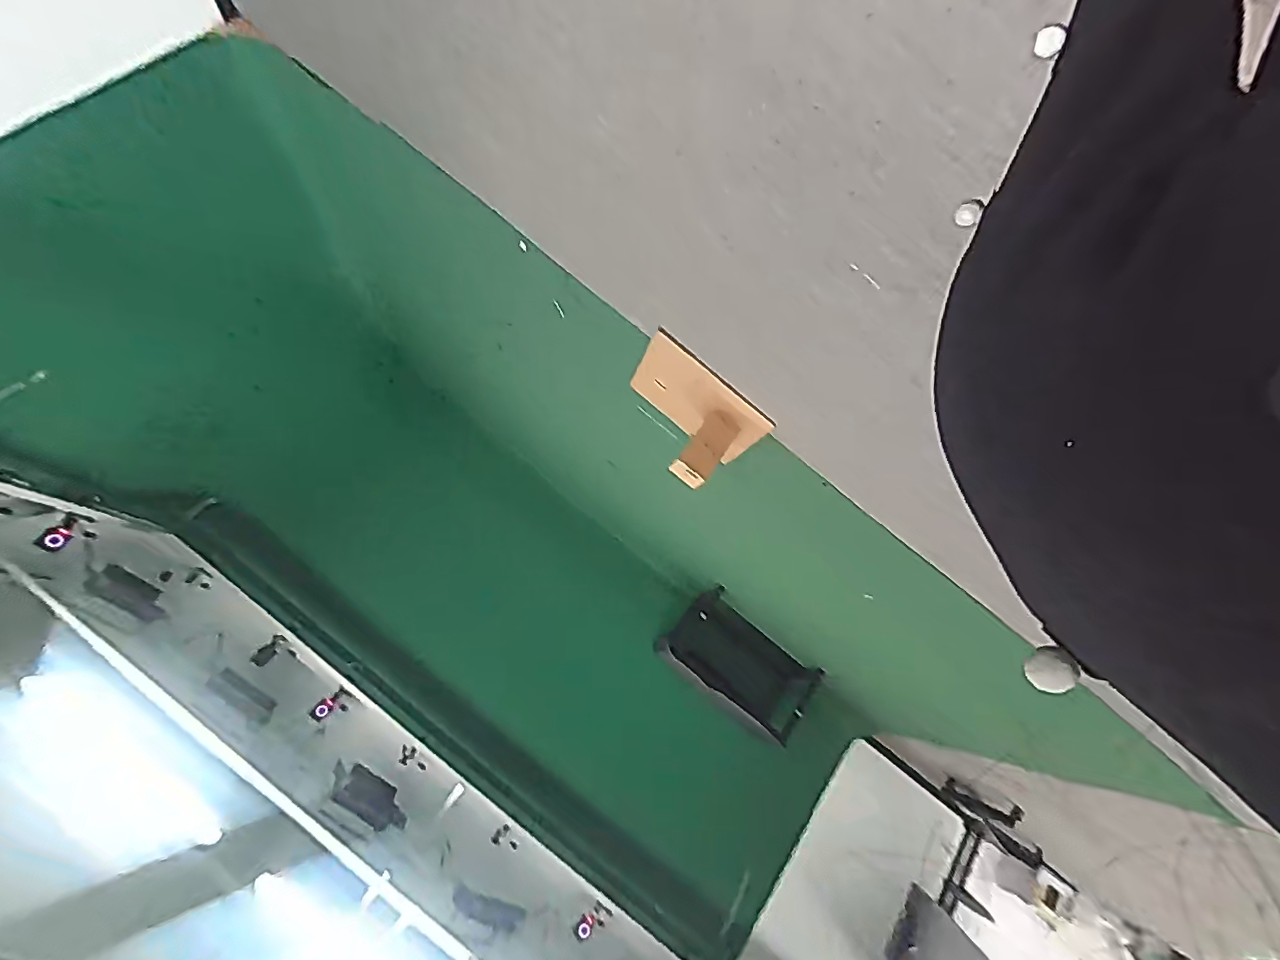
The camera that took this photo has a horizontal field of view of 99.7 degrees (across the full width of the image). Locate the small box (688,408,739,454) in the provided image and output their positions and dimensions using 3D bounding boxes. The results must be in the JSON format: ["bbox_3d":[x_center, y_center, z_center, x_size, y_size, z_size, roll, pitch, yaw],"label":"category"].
[{"bbox_3d":[0.365,-0.225,2.692,0.168,0.176,0.179,38,160,0],"label":"small box"}]

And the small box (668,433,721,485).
[{"bbox_3d":[0.269,-0.103,2.637,0.168,0.176,0.179,39,161,-2],"label":"small box"}]
